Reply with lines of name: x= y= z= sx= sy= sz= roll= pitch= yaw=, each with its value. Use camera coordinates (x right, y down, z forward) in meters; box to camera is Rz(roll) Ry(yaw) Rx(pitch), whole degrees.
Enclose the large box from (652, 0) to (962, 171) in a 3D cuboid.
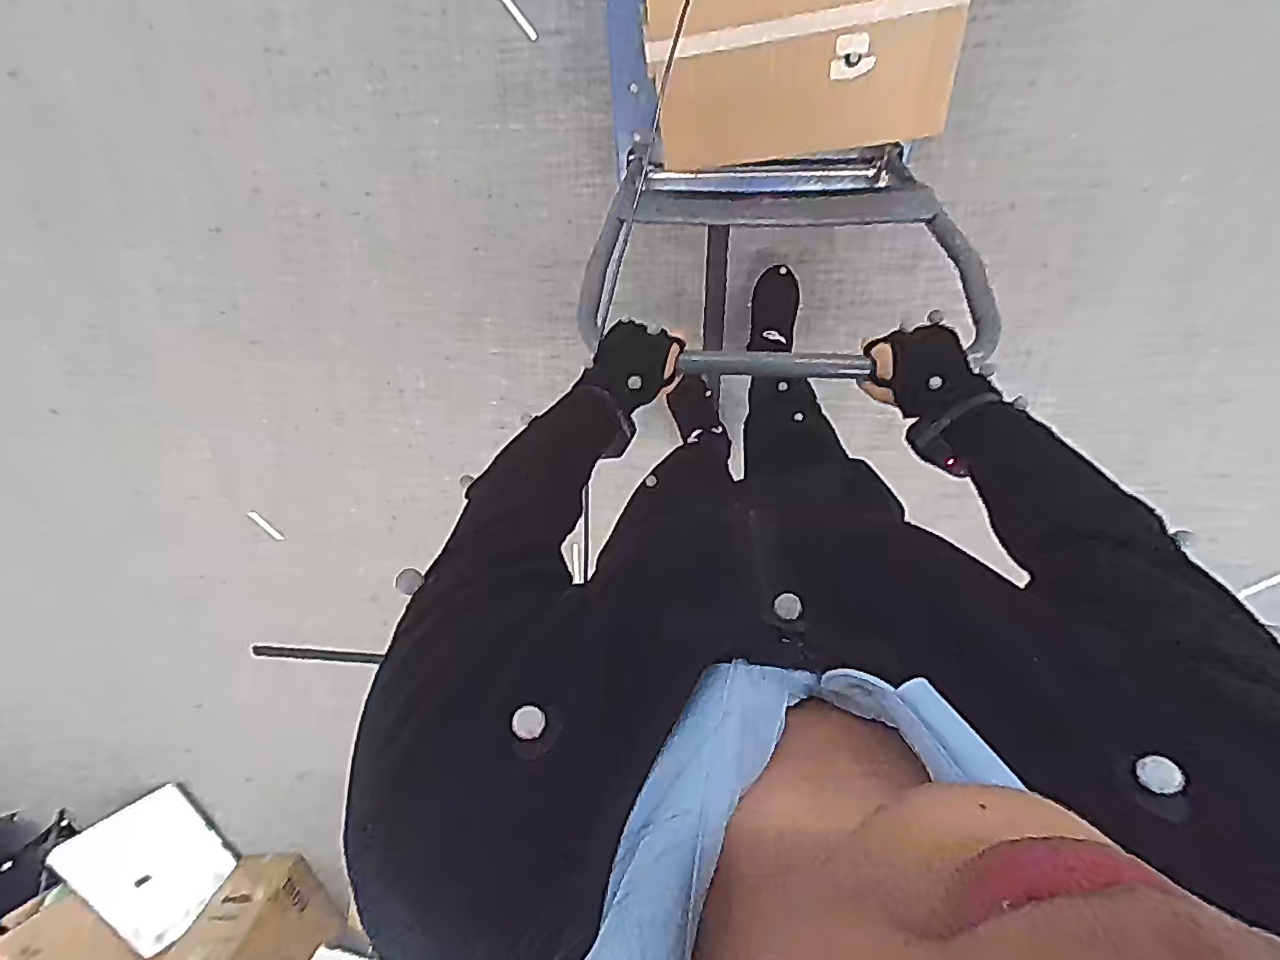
large box: x=0.233 y=-0.714 z=0.834 sx=0.408 sy=0.320 sz=0.320 roll=-3 pitch=132 yaw=10
